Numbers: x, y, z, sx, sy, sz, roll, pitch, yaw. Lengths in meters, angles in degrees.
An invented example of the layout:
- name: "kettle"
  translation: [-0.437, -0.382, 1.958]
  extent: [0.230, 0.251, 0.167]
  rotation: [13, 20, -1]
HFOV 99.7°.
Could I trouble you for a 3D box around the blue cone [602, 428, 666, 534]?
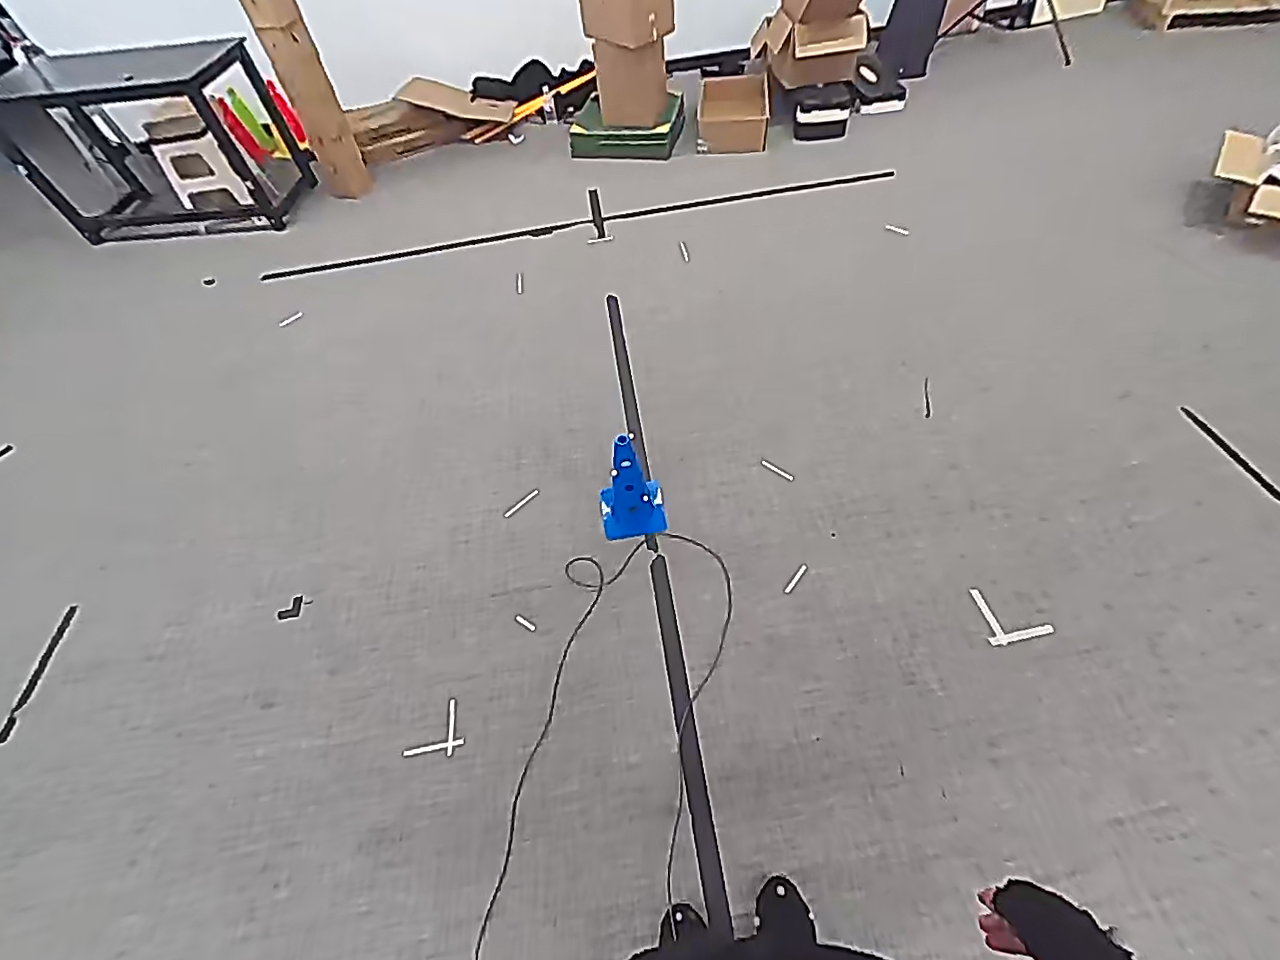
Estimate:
- name: "blue cone"
  translation: [-0.034, -0.012, 1.597]
  extent: [0.193, 0.380, 0.192]
  rotation: [-11, 54, -1]
